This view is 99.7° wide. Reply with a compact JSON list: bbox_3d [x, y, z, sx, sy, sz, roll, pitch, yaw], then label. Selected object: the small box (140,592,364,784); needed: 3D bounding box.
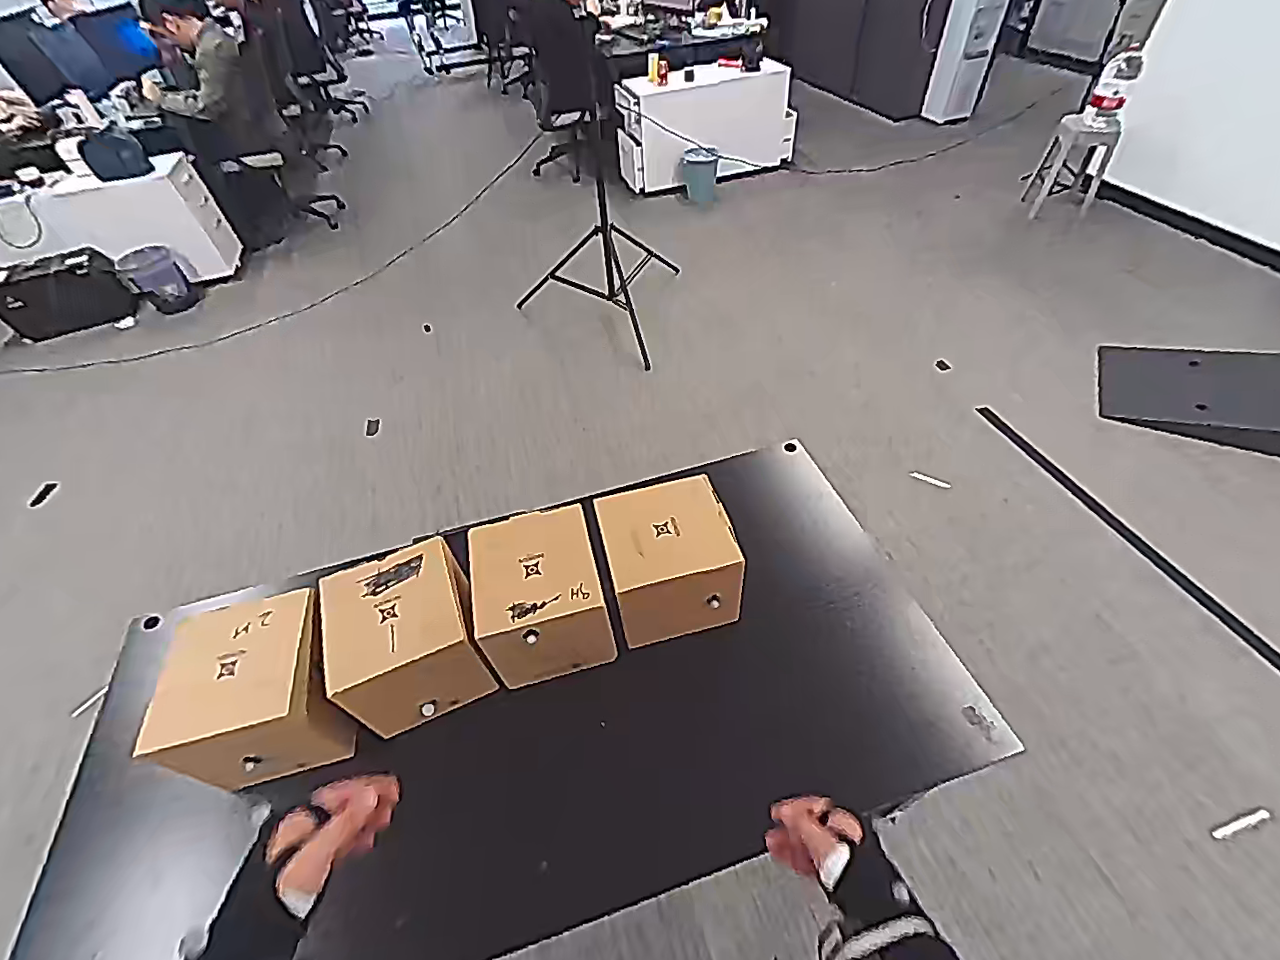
[{"bbox_3d":[-0.489,0.282,0.719,0.168,0.176,0.179,-13,48,-7],"label":"small box"}]
